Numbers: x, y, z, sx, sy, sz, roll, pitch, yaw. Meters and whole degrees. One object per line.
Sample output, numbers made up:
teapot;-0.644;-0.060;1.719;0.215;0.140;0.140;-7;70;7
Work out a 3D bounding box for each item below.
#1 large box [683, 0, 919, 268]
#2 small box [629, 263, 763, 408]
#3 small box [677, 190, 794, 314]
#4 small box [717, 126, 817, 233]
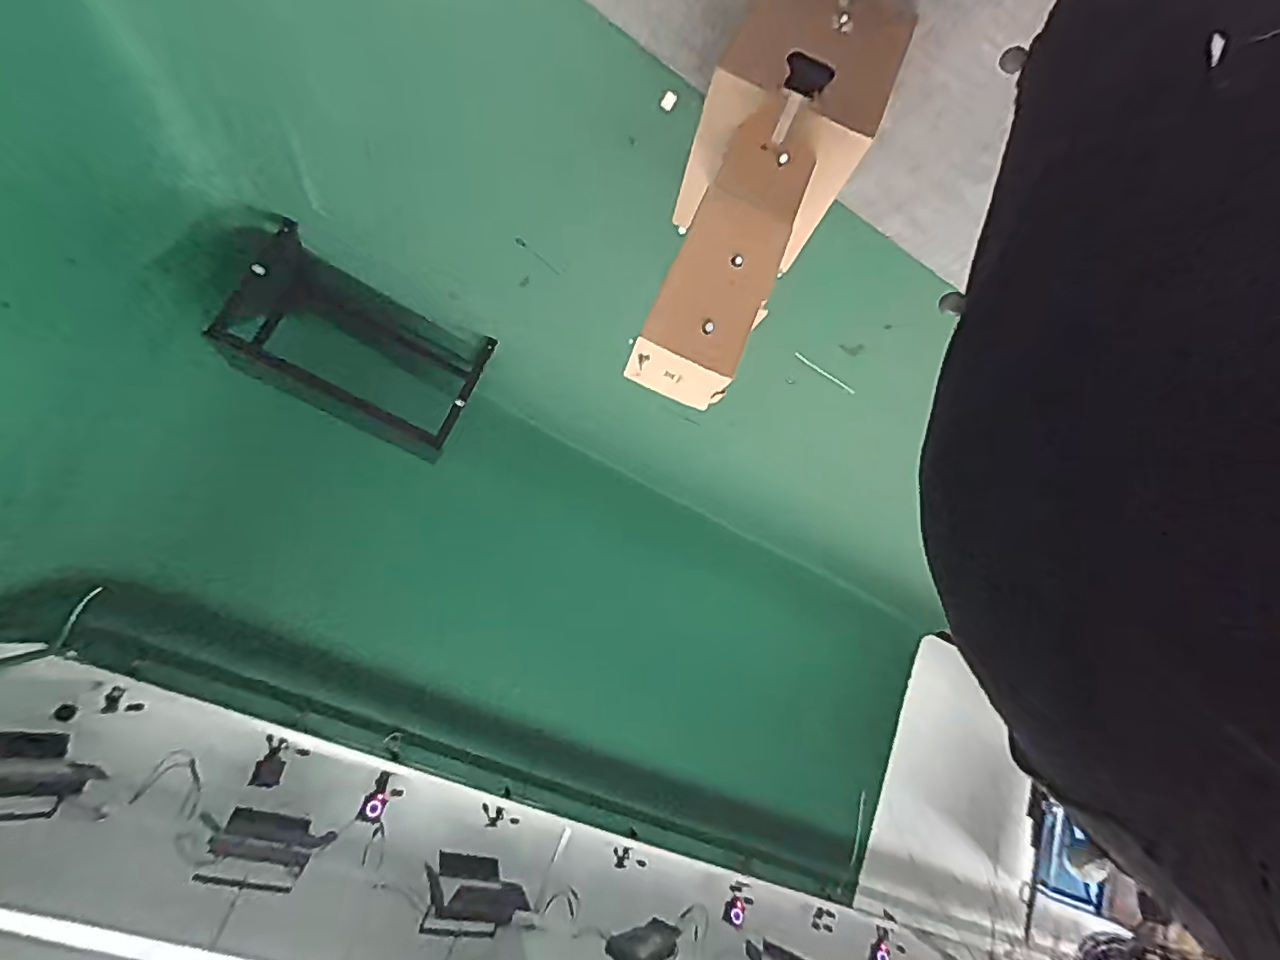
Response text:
large box;0.320;-0.758;1.172;0.320;0.320;0.408;25;166;-1
small box;0.101;-0.261;0.988;0.179;0.176;0.168;23;164;-5
small box;0.166;-0.407;1.027;0.179;0.176;0.168;24;165;-6
small box;0.229;-0.548;1.081;0.168;0.176;0.179;23;164;-5
